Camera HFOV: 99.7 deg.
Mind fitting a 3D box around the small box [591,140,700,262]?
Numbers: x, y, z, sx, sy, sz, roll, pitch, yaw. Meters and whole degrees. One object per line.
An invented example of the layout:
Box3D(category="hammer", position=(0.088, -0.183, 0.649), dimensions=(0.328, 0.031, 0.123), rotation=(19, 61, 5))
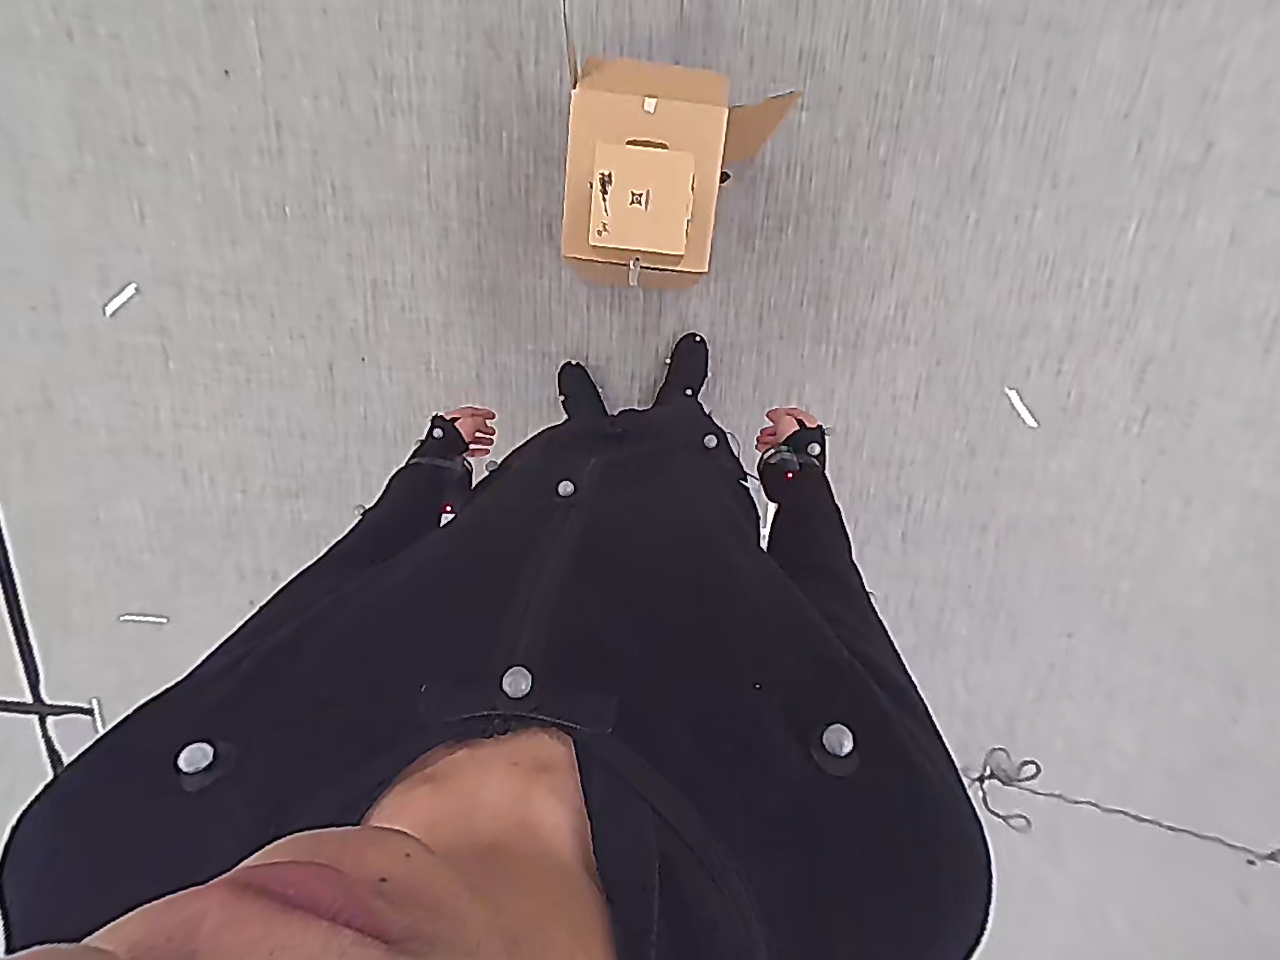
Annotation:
Box3D(category="small box", position=(0.007, -0.510, 1.012), dimensions=(0.179, 0.176, 0.168), rotation=(6, 106, -2))
